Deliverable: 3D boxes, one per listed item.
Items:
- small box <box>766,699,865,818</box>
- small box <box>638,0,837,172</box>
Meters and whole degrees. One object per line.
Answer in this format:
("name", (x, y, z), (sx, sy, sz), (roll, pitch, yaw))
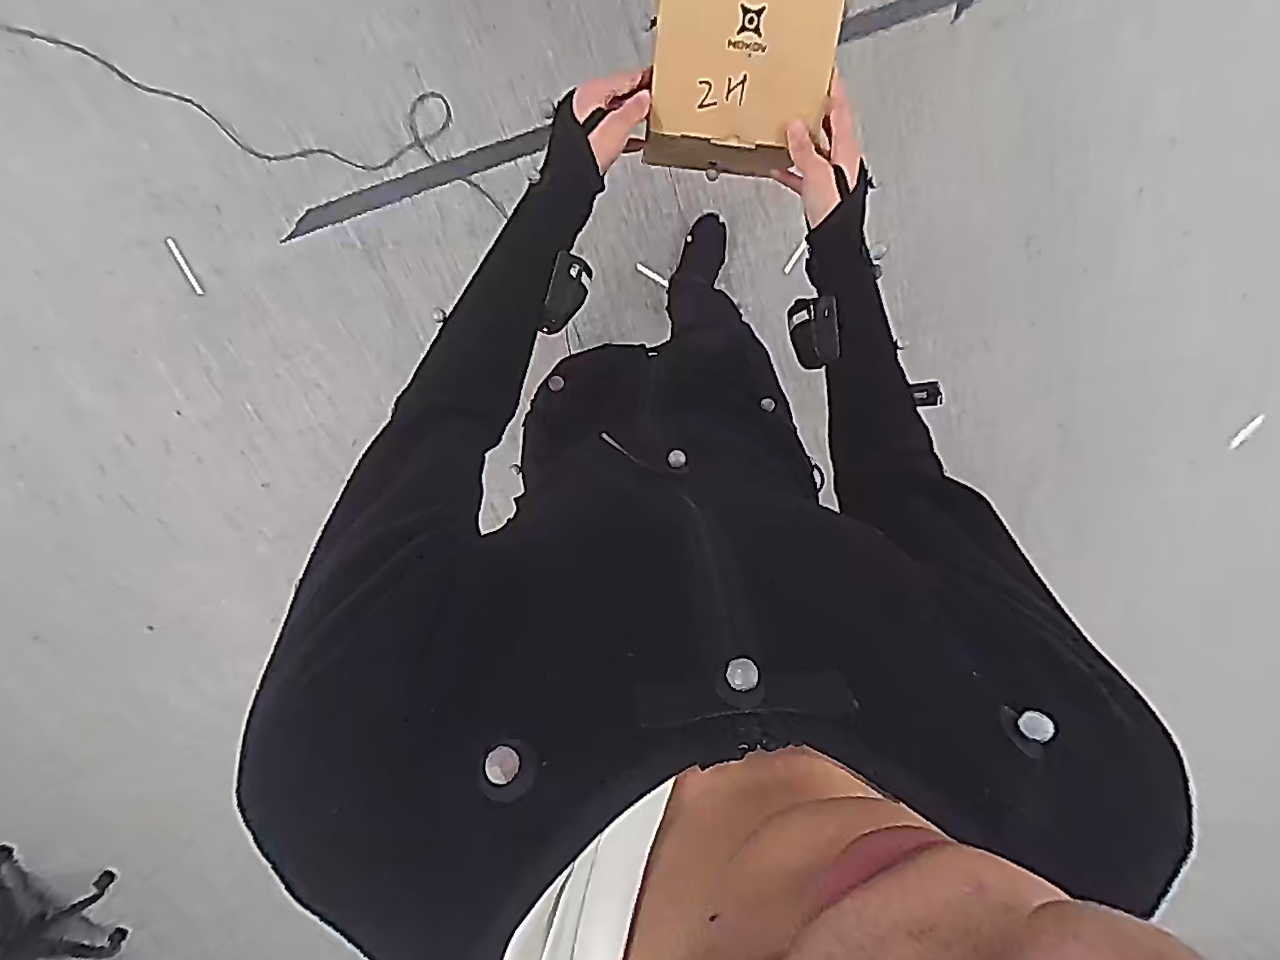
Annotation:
("small box", (0.389, 0.628, 1.231), (0.179, 0.176, 0.168), (-7, 113, -1))
("small box", (0.088, -0.437, 0.556), (0.168, 0.176, 0.179), (4, 112, -3))
